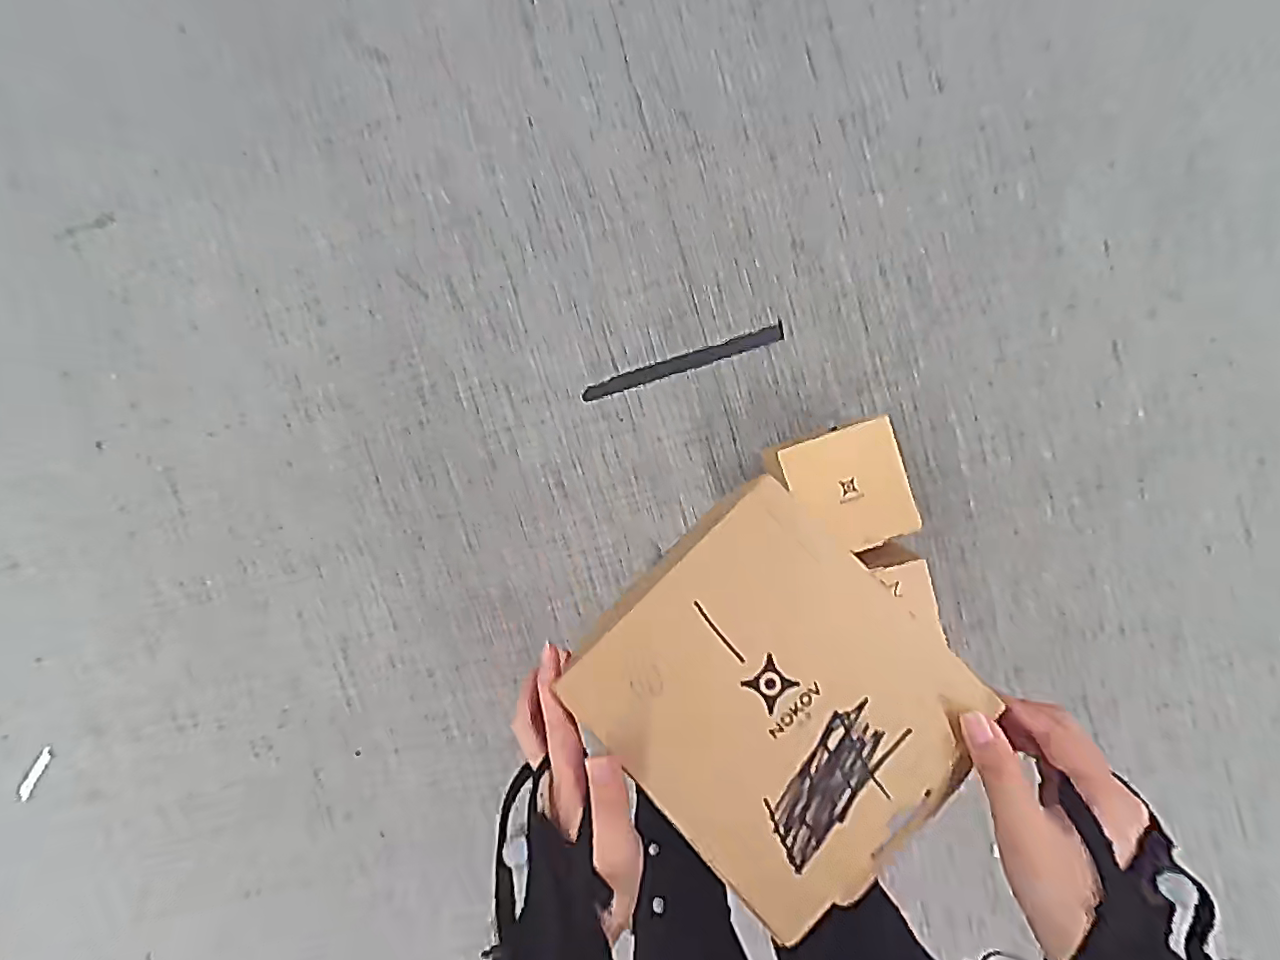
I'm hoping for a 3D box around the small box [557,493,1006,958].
[{"bbox_3d":[0.073,0.129,0.357,0.168,0.176,0.179,-44,85,-6],"label":"small box"}]
